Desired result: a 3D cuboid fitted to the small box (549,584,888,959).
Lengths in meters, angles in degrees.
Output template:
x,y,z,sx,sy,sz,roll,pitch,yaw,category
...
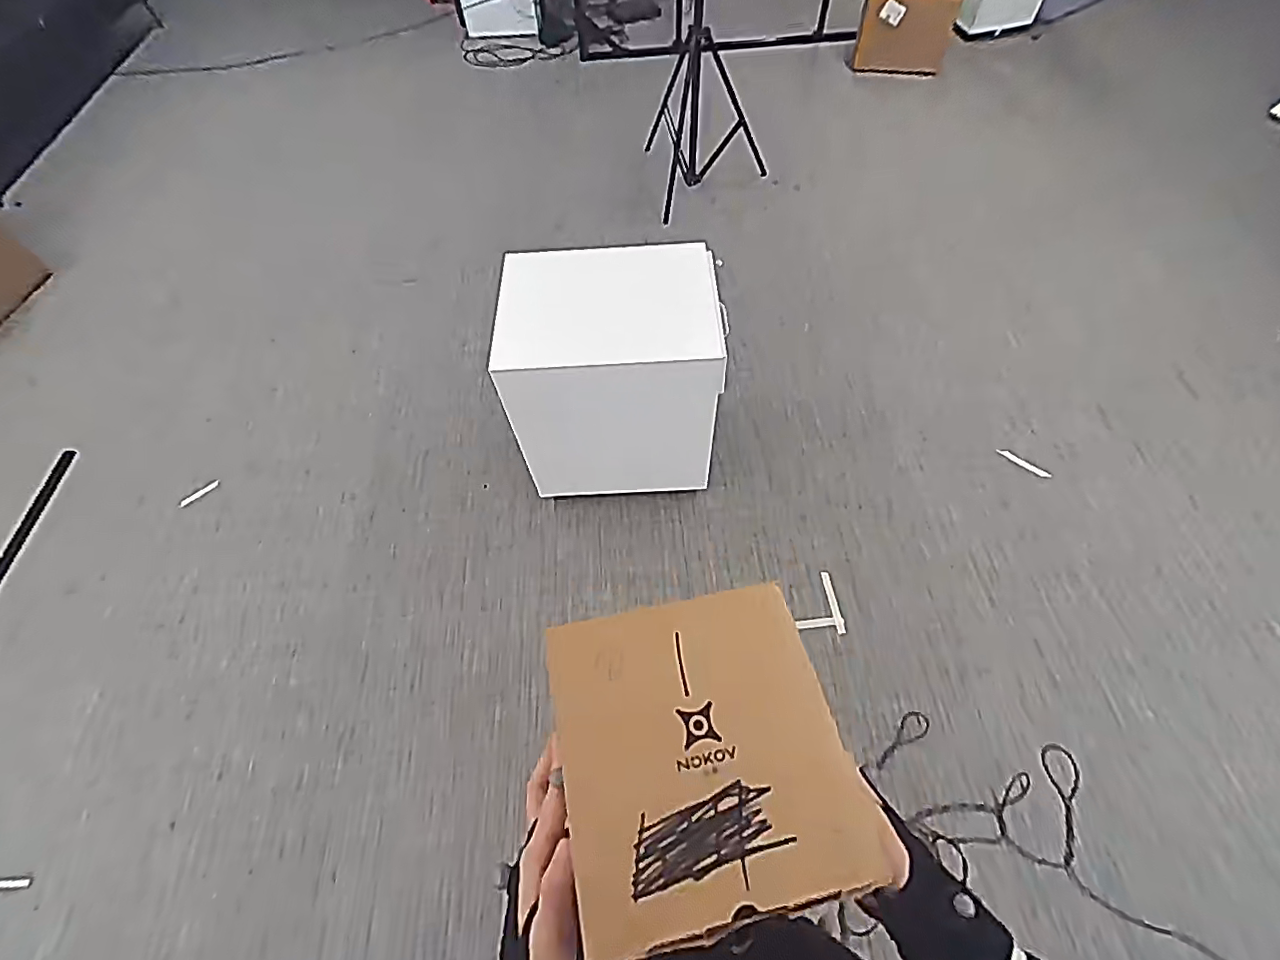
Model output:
x,y,z,sx,sy,sz,roll,pitch,yaw,category
0.036,0.200,0.387,0.168,0.176,0.179,-10,55,-8,small box
